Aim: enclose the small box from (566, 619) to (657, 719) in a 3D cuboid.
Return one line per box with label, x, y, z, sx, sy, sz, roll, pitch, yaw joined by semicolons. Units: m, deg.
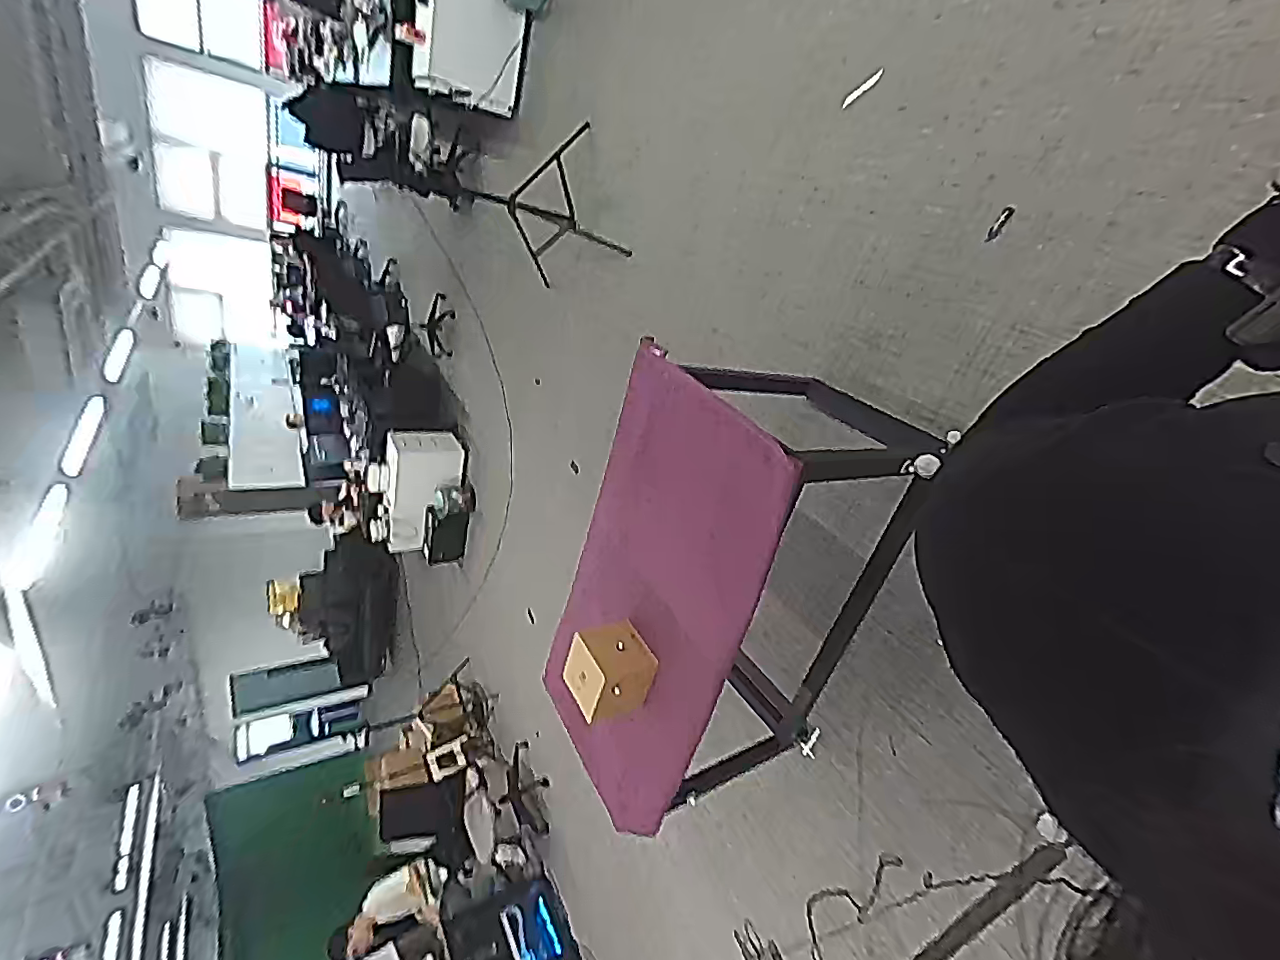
small box;-0.074;0.496;1.446;0.168;0.176;0.179;47;129;43
